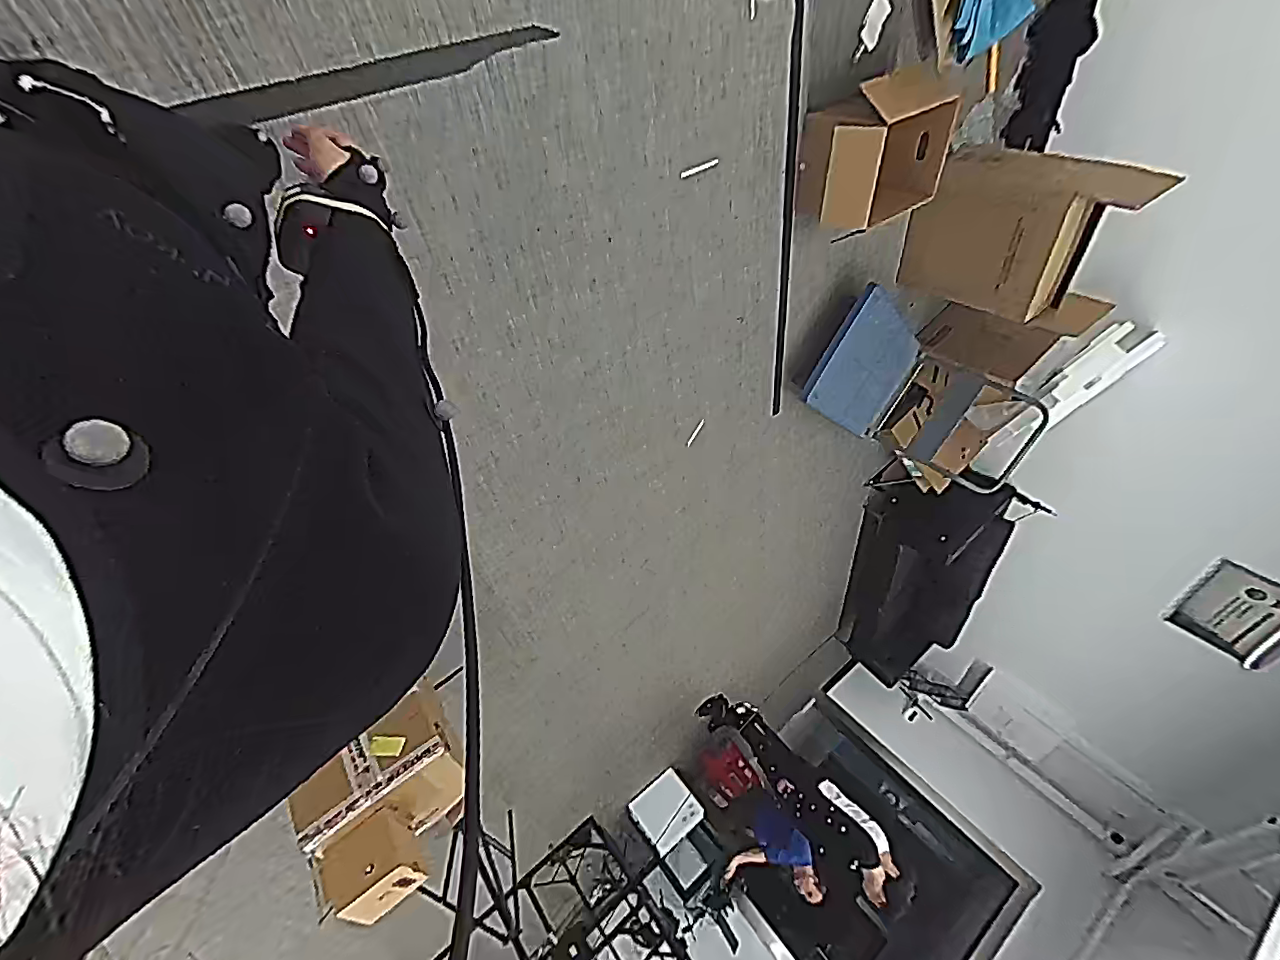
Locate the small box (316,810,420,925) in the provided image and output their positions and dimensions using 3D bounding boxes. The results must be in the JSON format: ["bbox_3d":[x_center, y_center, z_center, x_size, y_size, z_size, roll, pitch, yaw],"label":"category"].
[{"bbox_3d":[-0.725,1.027,1.440,0.179,0.176,0.168,-32,137,-20],"label":"small box"}]
